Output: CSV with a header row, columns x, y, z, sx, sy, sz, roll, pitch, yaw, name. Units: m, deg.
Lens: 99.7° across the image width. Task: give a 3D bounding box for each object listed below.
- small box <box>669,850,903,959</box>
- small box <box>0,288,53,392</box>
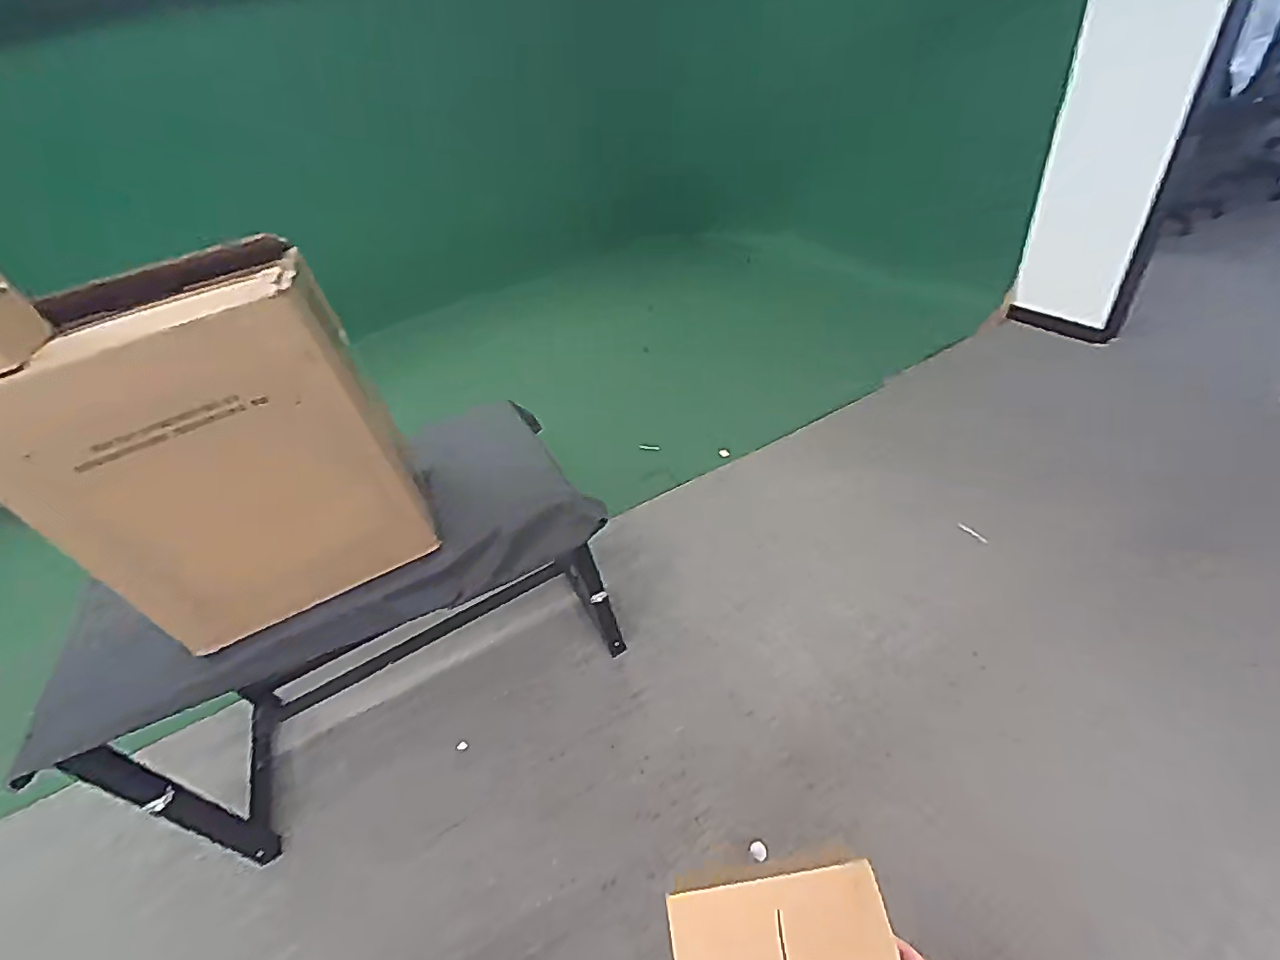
x,y,z,sx,sy,sz,roll,pitch,yaw,name
0.123,0.425,0.444,0.168,0.176,0.179,-11,57,-1,small box
-1.032,-0.210,0.784,0.168,0.176,0.179,-29,42,-14,small box
